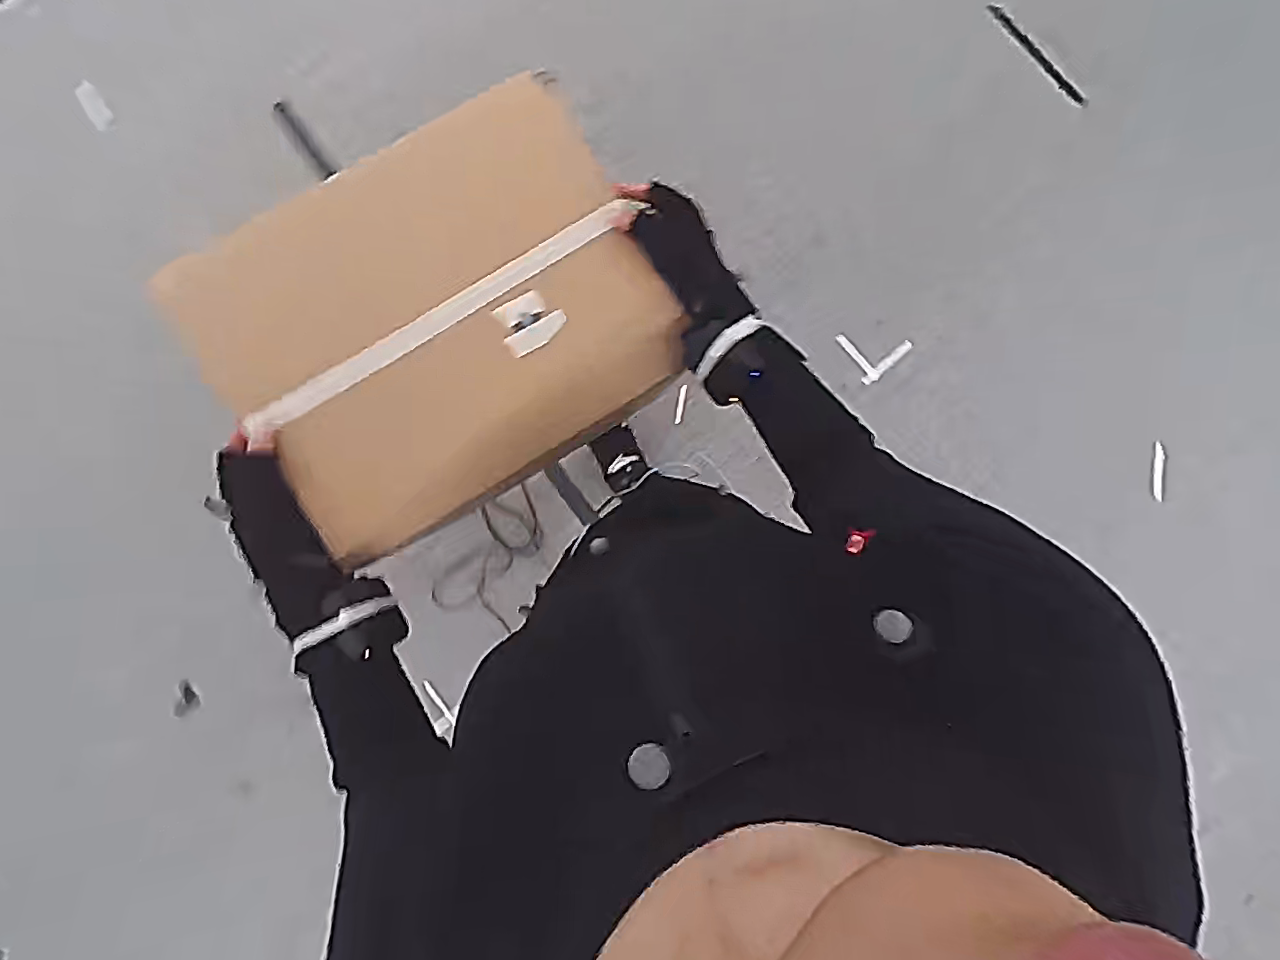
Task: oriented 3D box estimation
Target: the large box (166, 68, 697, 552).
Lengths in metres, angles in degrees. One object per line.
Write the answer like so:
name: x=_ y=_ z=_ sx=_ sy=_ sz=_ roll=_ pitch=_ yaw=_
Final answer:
large box: x=-0.203 y=-0.165 z=0.661 sx=0.408 sy=0.320 sz=0.320 roll=-33 pitch=96 yaw=-5
